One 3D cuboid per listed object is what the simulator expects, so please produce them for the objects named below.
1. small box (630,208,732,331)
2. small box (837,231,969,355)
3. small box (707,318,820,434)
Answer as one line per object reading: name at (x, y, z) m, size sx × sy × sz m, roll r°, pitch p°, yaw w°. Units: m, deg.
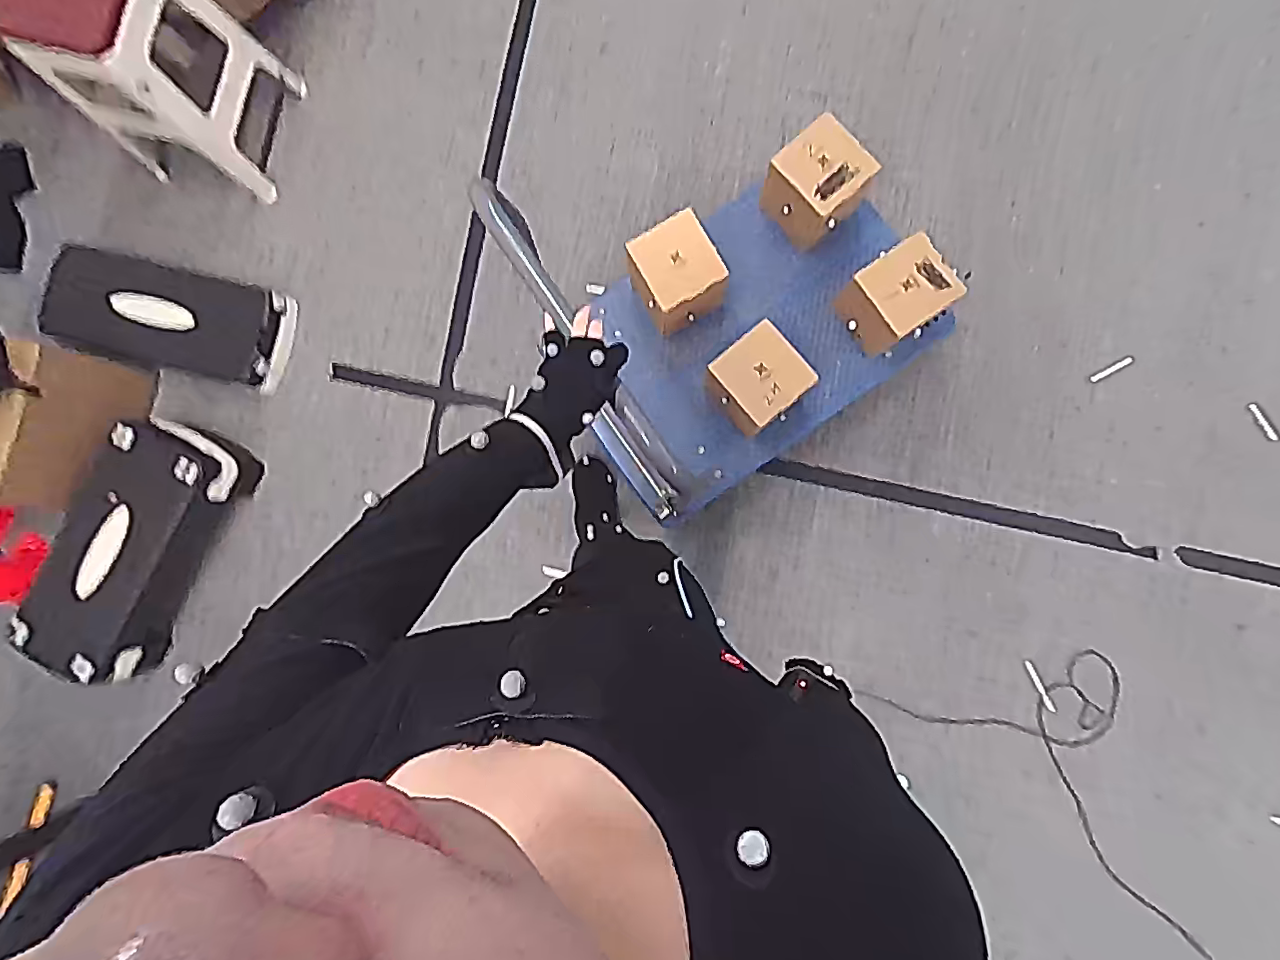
small box at (0.089, -0.474, 1.244) m, size 0.168 × 0.176 × 0.179 m, roll -30°, pitch 87°, yaw 1°
small box at (0.576, -0.408, 1.211) m, size 0.179 × 0.176 × 0.168 m, roll -34°, pitch 85°, yaw 2°
small box at (0.267, -0.224, 1.219) m, size 0.168 × 0.176 × 0.179 m, roll -39°, pitch 85°, yaw 1°
